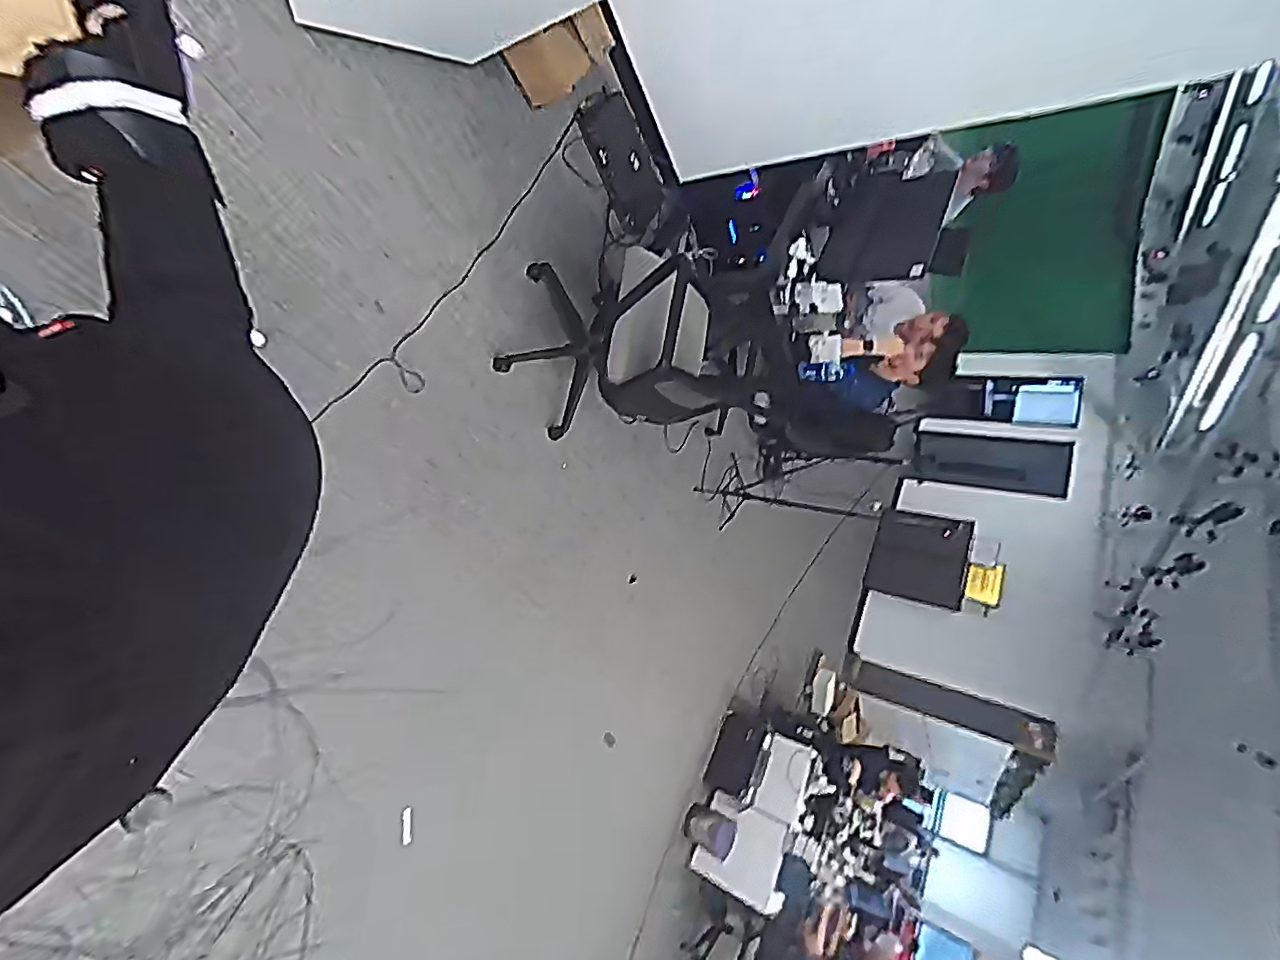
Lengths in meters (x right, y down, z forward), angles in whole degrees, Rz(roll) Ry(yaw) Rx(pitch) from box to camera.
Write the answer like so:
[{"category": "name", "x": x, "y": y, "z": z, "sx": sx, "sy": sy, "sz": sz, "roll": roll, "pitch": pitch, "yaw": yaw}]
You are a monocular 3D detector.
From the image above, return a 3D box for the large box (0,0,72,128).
[{"category": "large box", "x": -0.619, "y": -0.388, "z": 0.242, "sx": 0.408, "sy": 0.320, "sz": 0.320, "roll": -25, "pitch": 122, "yaw": -52}]
